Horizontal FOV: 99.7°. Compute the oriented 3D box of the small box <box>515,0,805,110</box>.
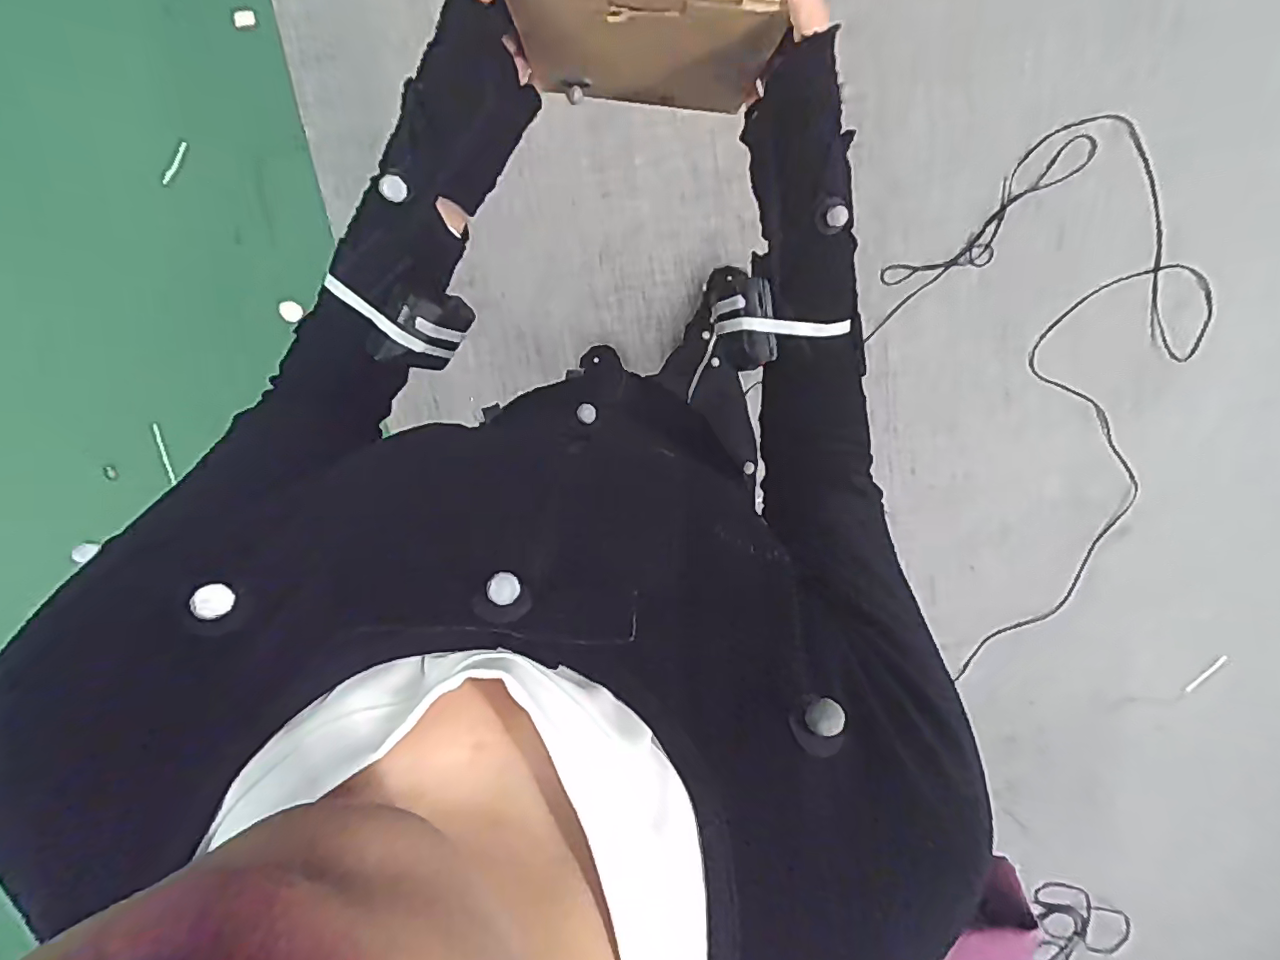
[{"bbox_3d":[0.016,-0.365,0.341,0.168,0.176,0.179,5,106,-4],"label":"small box"}]
